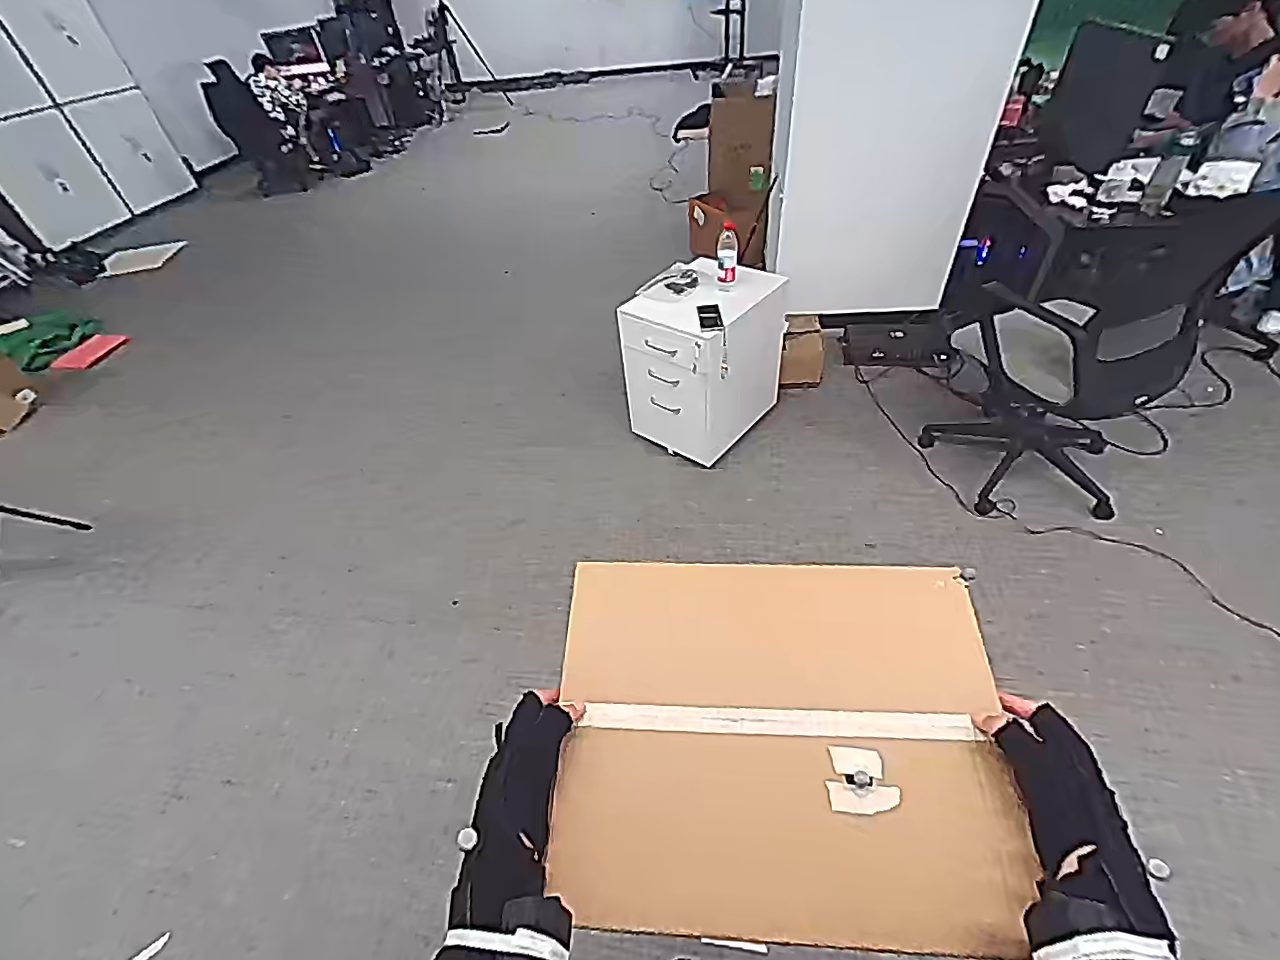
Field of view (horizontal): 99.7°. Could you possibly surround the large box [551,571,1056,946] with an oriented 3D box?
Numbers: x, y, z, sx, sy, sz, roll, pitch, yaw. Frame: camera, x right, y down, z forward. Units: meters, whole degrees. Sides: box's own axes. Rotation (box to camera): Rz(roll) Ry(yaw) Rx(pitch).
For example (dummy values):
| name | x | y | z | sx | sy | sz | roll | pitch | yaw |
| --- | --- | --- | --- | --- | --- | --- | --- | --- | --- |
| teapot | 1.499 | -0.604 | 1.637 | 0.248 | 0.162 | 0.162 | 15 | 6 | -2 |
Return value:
| name | x | y | z | sx | sy | sz | roll | pitch | yaw |
| --- | --- | --- | --- | --- | --- | --- | --- | --- | --- |
| large box | 0.136 | 0.311 | 0.631 | 0.408 | 0.320 | 0.320 | 0 | 57 | 5 |
